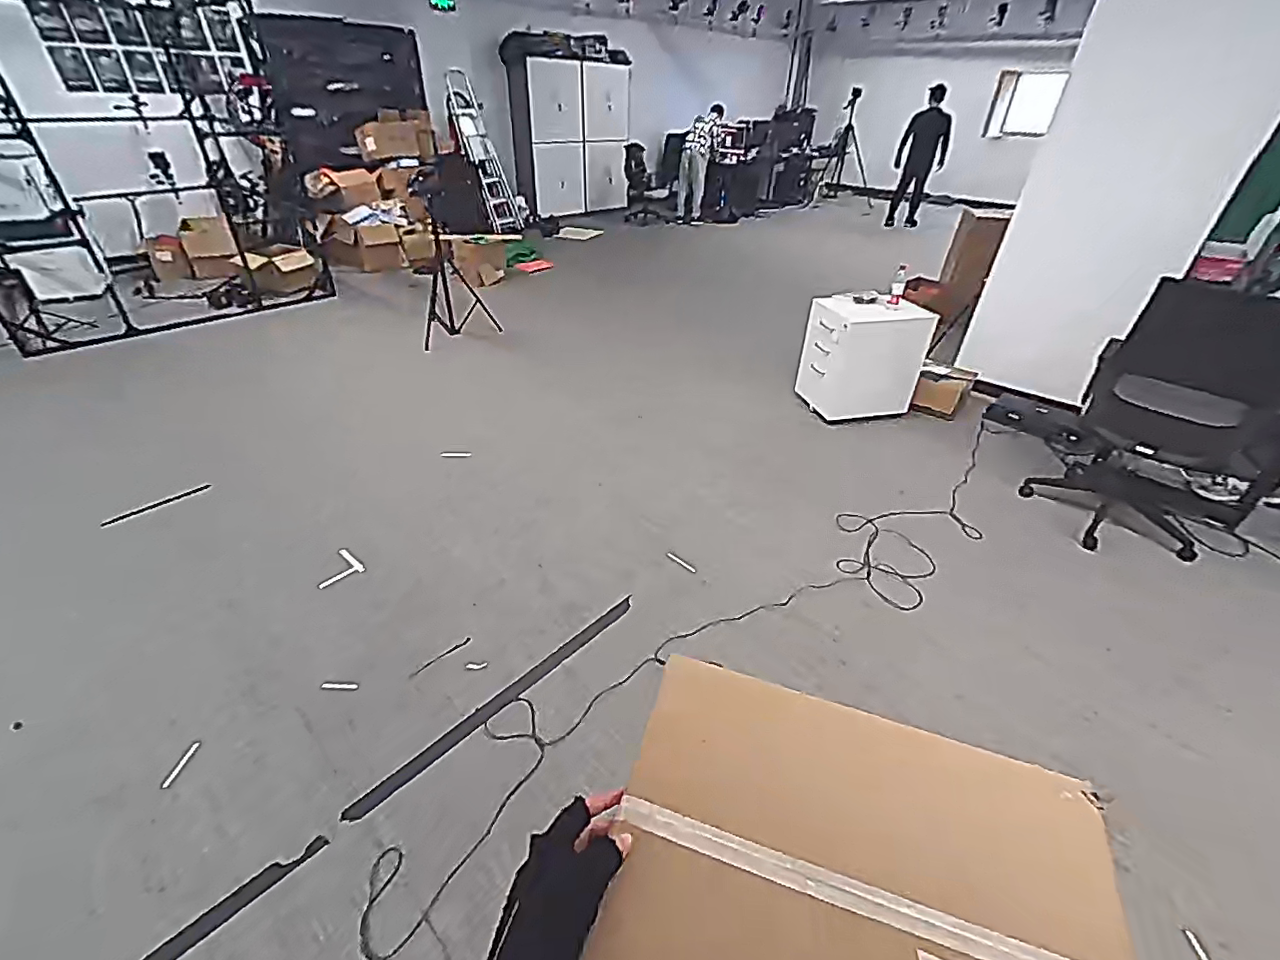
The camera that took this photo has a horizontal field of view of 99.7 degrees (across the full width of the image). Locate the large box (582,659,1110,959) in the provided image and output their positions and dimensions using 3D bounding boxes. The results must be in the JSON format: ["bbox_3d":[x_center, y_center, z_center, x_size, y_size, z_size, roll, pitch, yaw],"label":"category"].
[{"bbox_3d":[0.174,0.447,0.564,0.408,0.320,0.320,14,47,12],"label":"large box"}]
